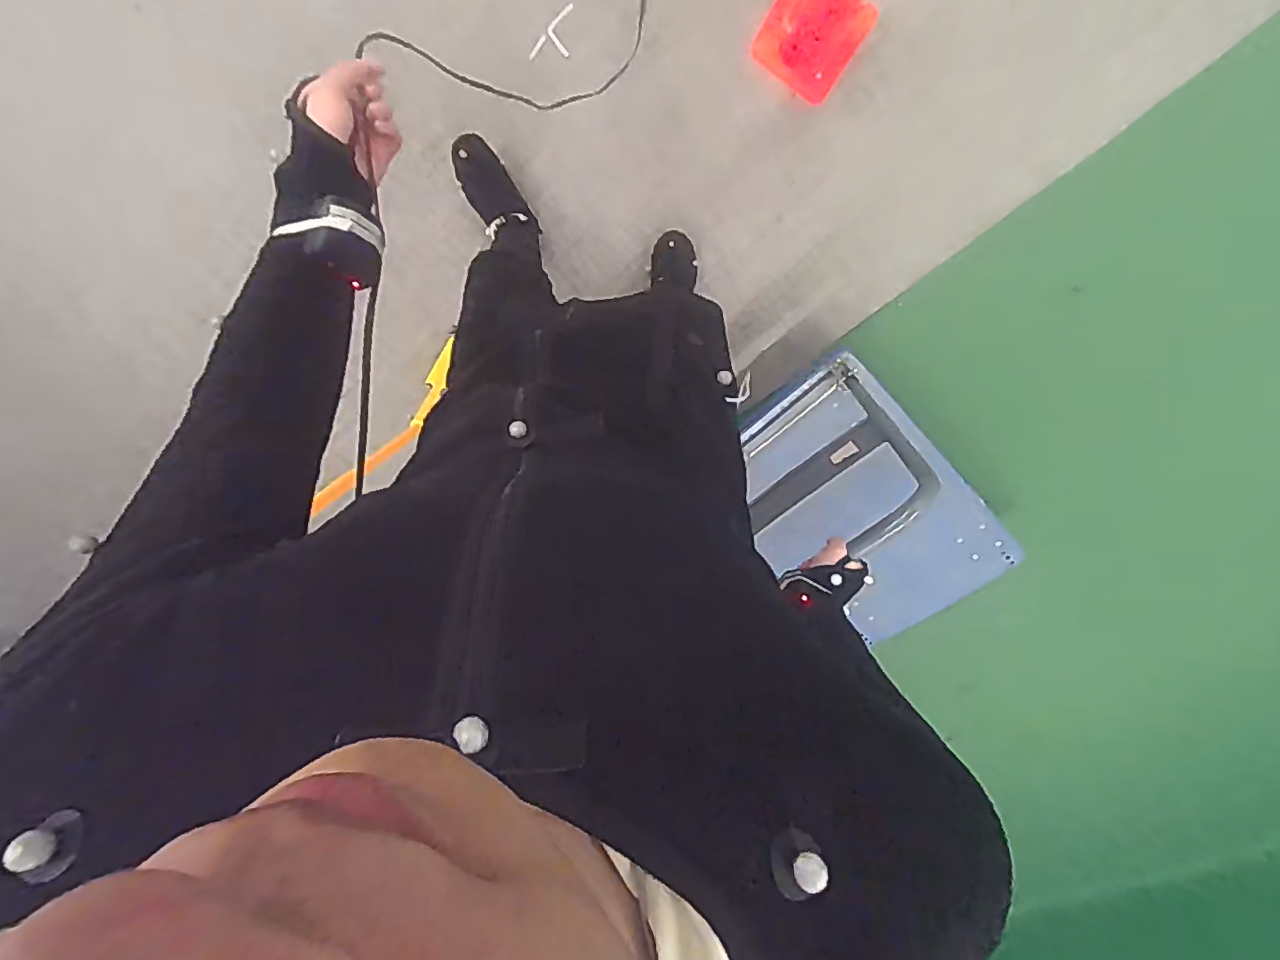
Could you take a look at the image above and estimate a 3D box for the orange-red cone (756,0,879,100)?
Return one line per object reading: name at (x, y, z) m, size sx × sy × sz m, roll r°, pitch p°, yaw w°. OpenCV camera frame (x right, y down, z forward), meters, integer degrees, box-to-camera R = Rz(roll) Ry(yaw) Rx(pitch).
orange-red cone at (0.365, -0.872, 0.992) m, size 0.198 × 0.360 × 0.199 m, roll 31°, pitch 116°, yaw -14°
